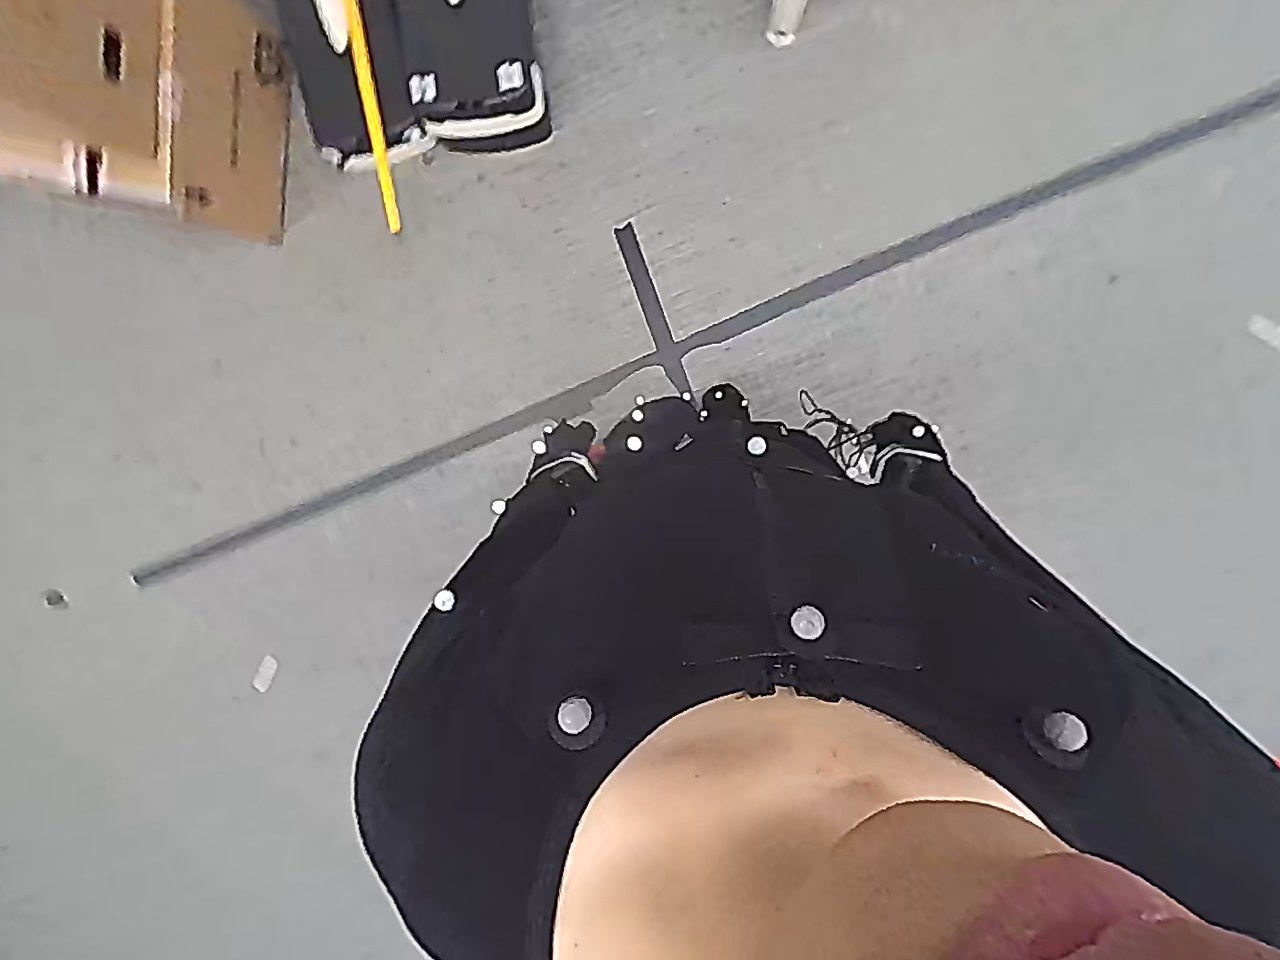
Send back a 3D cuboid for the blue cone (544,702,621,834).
[{"bbox_3d":[-0.189,0.797,1.455,0.192,0.380,0.193,-26,97,8],"label":"blue cone"}]
